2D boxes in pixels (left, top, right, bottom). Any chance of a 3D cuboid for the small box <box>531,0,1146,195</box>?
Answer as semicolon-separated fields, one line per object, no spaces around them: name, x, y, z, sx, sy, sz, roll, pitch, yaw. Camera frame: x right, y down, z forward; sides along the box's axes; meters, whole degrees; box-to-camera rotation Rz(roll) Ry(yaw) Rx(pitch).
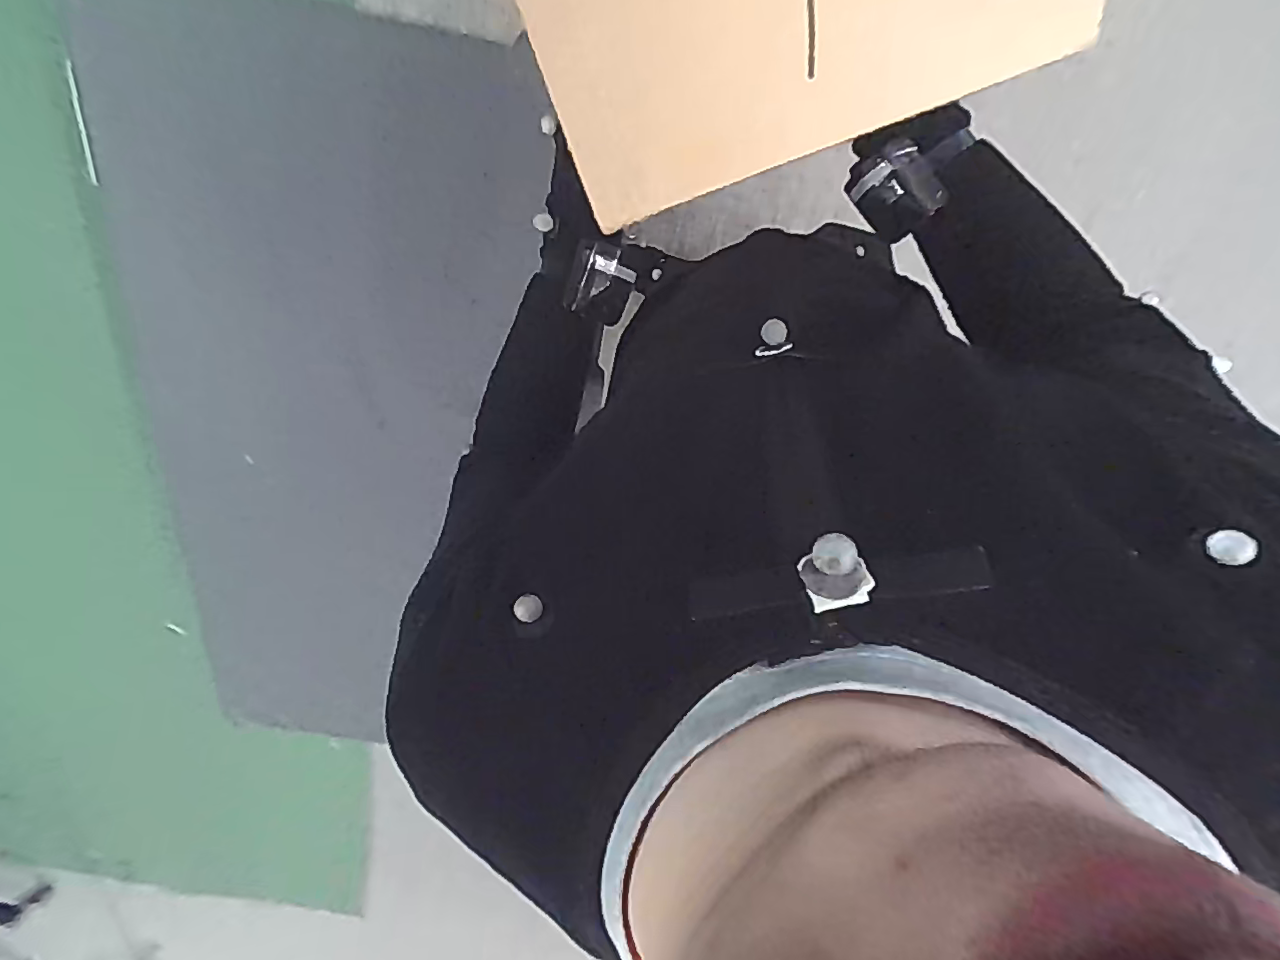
small box;0.036;-0.223;0.178;0.168;0.176;0.179;-15;126;10
